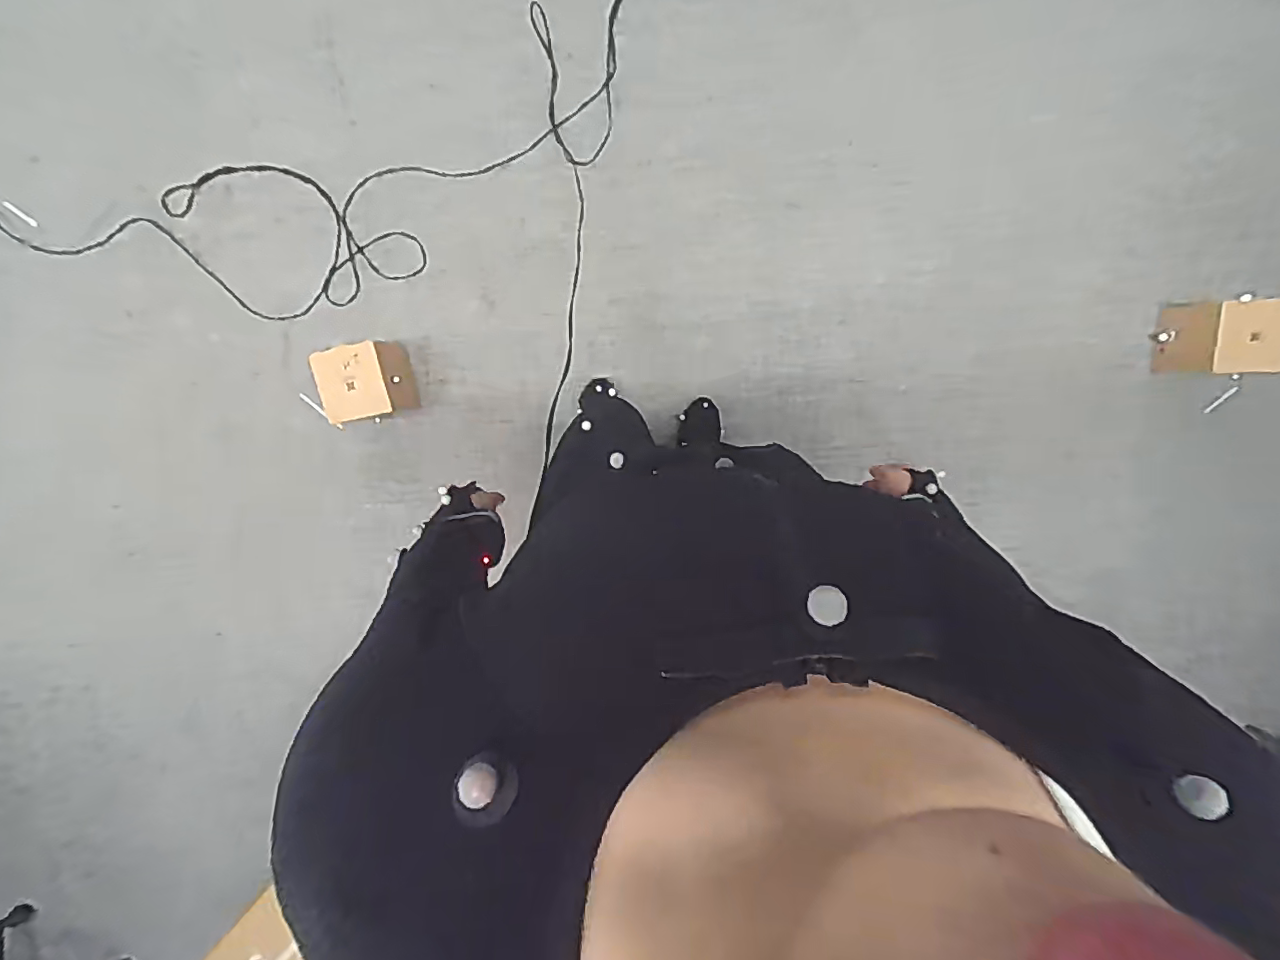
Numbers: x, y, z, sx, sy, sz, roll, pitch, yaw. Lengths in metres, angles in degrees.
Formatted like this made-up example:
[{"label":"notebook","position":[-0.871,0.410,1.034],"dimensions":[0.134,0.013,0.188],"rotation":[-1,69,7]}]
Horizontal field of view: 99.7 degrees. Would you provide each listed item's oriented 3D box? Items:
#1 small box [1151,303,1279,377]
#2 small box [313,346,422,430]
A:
[{"label":"small box","position":[1.425,-0.339,1.326],"dimensions":[0.179,0.176,0.168],"rotation":[-2,100,3]},{"label":"small box","position":[-0.681,-0.234,1.372],"dimensions":[0.168,0.176,0.179],"rotation":[-11,99,3]}]
